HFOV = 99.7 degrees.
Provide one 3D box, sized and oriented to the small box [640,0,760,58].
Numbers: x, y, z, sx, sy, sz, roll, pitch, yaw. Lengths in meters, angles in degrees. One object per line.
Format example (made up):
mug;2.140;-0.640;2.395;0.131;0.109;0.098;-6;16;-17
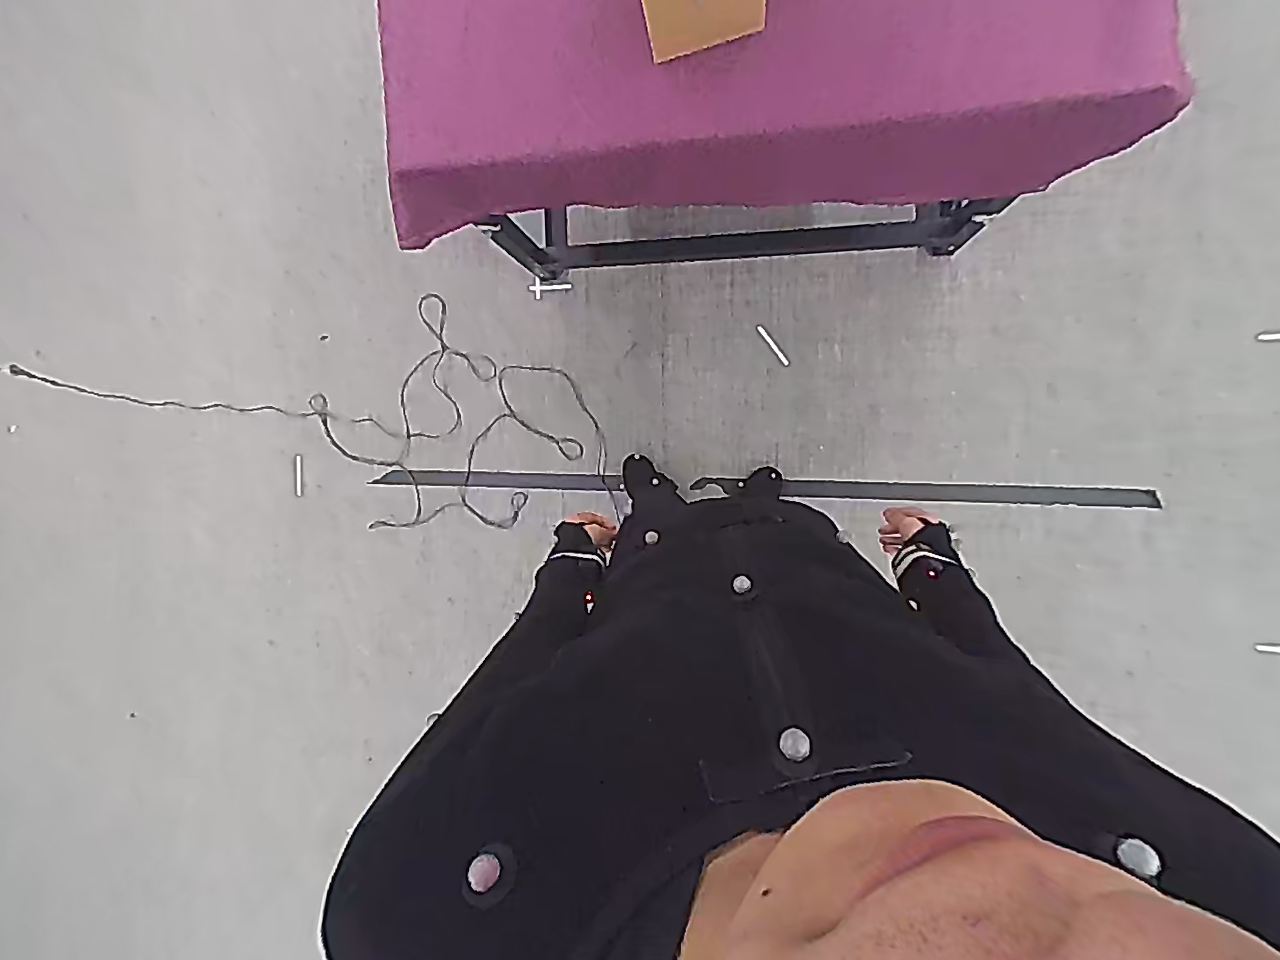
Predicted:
small box;0.077;-0.758;0.773;0.179;0.176;0.168;-10;92;9
